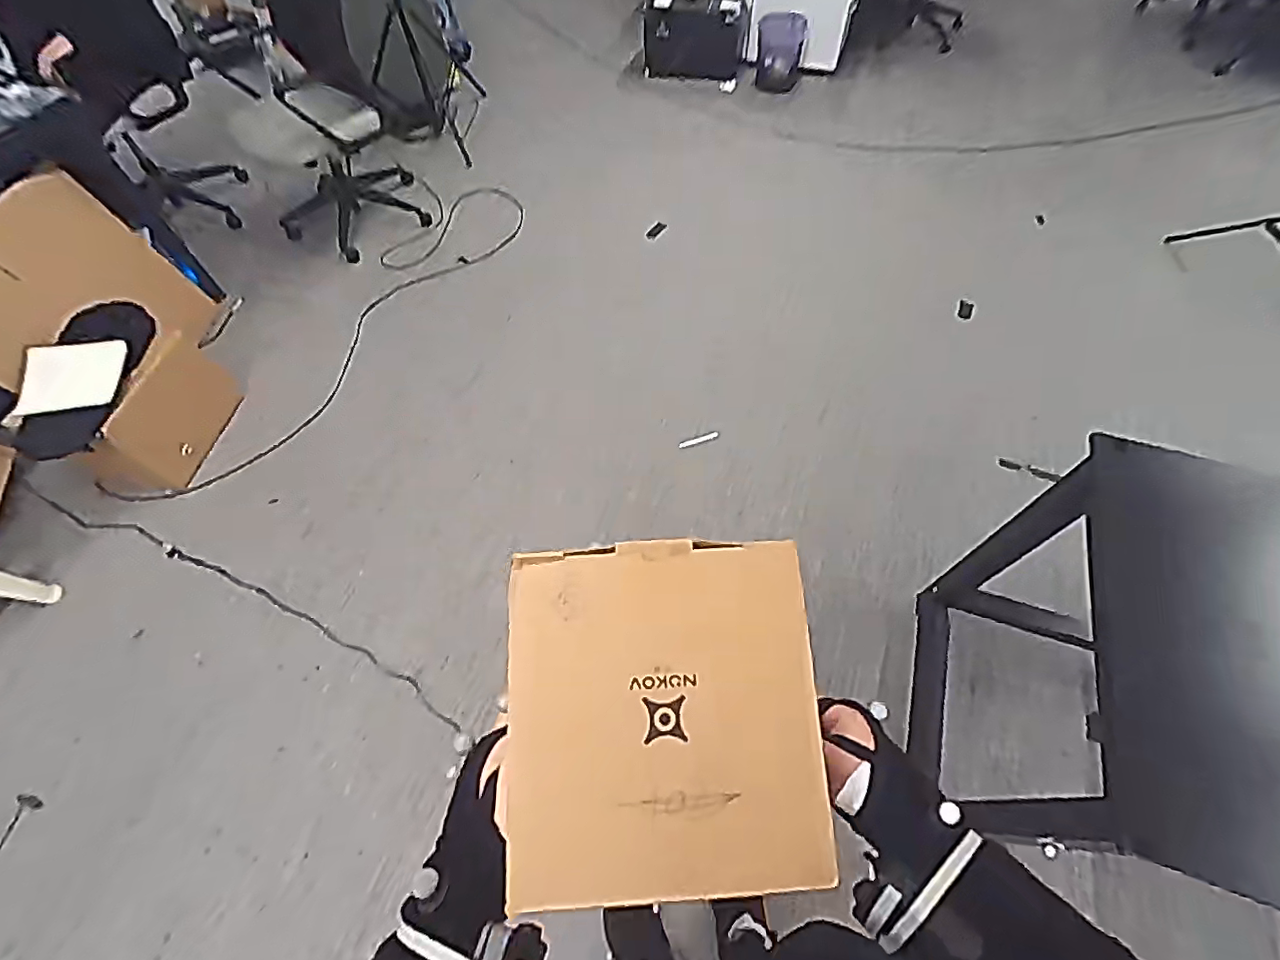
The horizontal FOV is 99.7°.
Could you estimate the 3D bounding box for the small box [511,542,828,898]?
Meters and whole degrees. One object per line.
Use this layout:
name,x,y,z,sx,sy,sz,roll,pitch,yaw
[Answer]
small box,0.010,0.144,0.373,0.168,0.176,0.179,-2,76,-2
